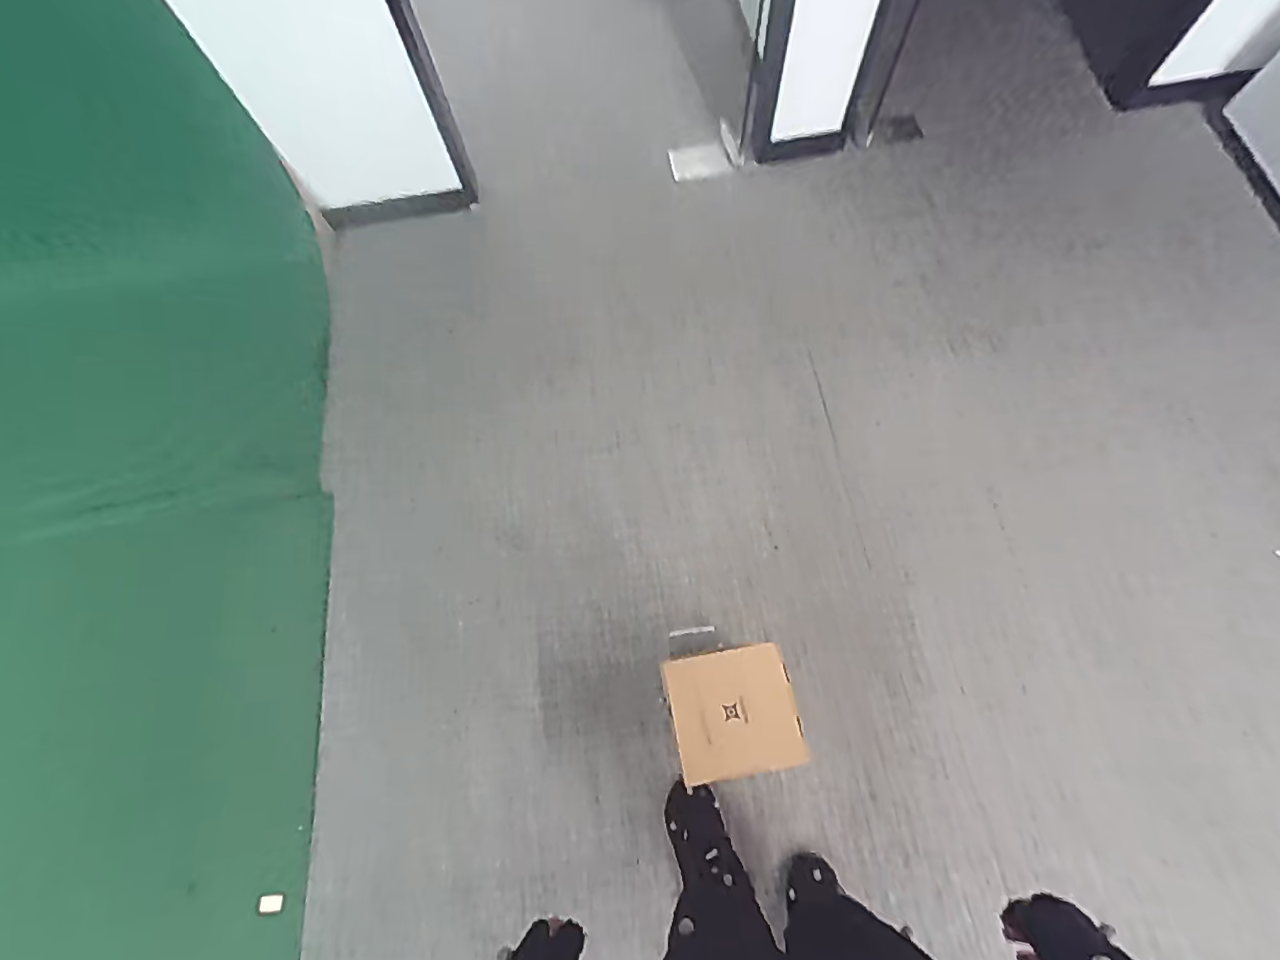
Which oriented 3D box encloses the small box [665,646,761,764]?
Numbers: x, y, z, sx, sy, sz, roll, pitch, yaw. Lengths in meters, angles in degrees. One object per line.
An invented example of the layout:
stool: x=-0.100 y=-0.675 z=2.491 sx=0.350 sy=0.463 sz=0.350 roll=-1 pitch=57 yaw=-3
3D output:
small box: x=0.144 y=0.408 z=0.996 sx=0.179 sy=0.176 sz=0.168 roll=-11 pitch=69 yaw=-1

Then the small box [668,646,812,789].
small box: x=0.144 y=0.361 z=0.839 sx=0.179 sy=0.176 sz=0.168 roll=-11 pitch=68 yaw=1
